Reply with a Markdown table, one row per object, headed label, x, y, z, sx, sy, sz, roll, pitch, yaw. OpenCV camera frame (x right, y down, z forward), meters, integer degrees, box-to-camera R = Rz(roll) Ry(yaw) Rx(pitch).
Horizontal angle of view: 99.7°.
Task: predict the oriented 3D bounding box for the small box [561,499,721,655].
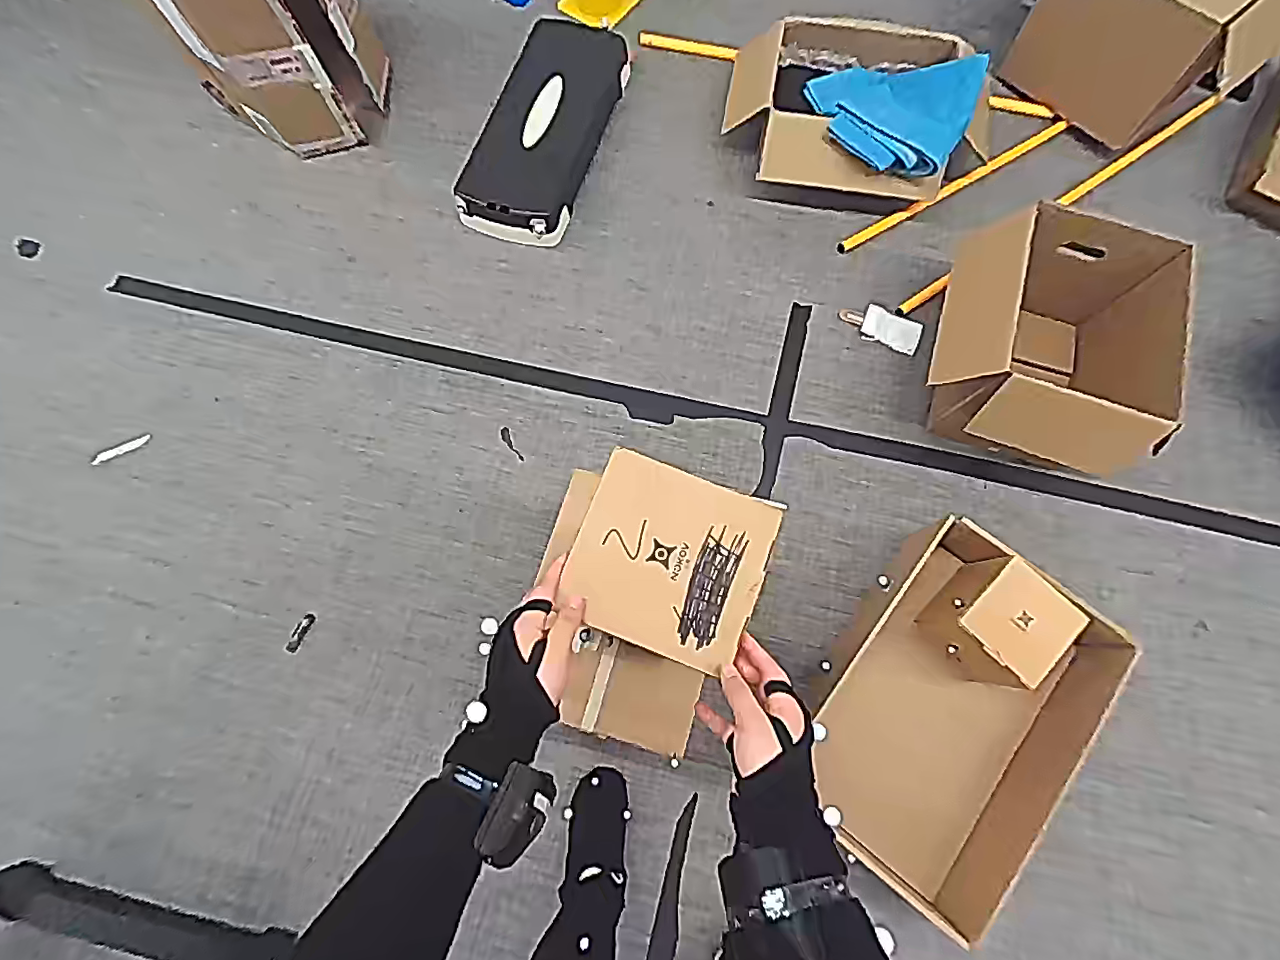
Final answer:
| label | x | y | z | sx | sy | sz | roll | pitch | yaw |
| --- | --- | --- | --- | --- | --- | --- | --- | --- | --- |
| small box | 0.002 | 0.148 | 0.805 | 0.179 | 0.176 | 0.168 | 20 | 76 | 5 |

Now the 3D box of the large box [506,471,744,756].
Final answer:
| label | x | y | z | sx | sy | sz | roll | pitch | yaw |
| --- | --- | --- | --- | --- | --- | --- | --- | --- | --- |
| large box | -0.015 | 0.240 | 1.036 | 0.320 | 0.320 | 0.408 | 15 | 76 | 6 |
